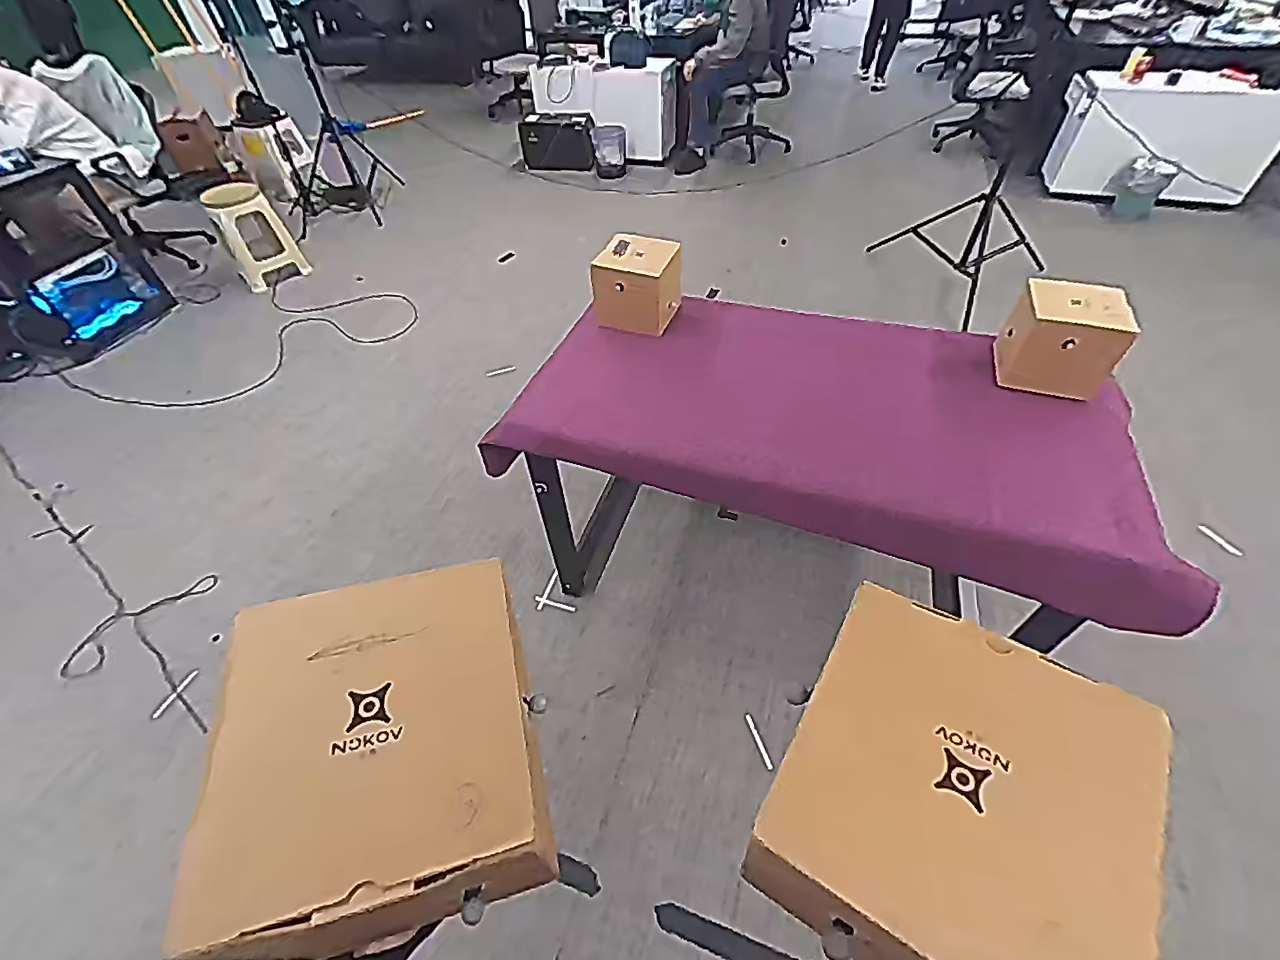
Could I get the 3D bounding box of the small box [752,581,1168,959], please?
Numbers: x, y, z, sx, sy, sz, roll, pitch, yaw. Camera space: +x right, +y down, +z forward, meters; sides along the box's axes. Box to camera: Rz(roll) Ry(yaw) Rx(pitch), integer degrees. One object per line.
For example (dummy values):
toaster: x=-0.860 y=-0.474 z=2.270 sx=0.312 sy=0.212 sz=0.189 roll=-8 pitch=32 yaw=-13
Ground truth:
small box: x=0.181 y=0.205 z=0.344 sx=0.168 sy=0.176 sz=0.179 roll=23 pitch=54 yaw=25

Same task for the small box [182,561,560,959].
small box: x=-0.151 y=0.186 z=0.366 sx=0.168 sy=0.176 sz=0.179 roll=-10 pitch=49 yaw=-14

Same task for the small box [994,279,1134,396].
small box: x=0.870 y=-0.297 z=1.136 sx=0.179 sy=0.176 sz=0.168 roll=14 pitch=51 yaw=14

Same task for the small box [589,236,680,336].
small box: x=-0.009 y=-0.482 z=1.351 sx=0.179 sy=0.176 sz=0.168 roll=16 pitch=53 yaw=15
